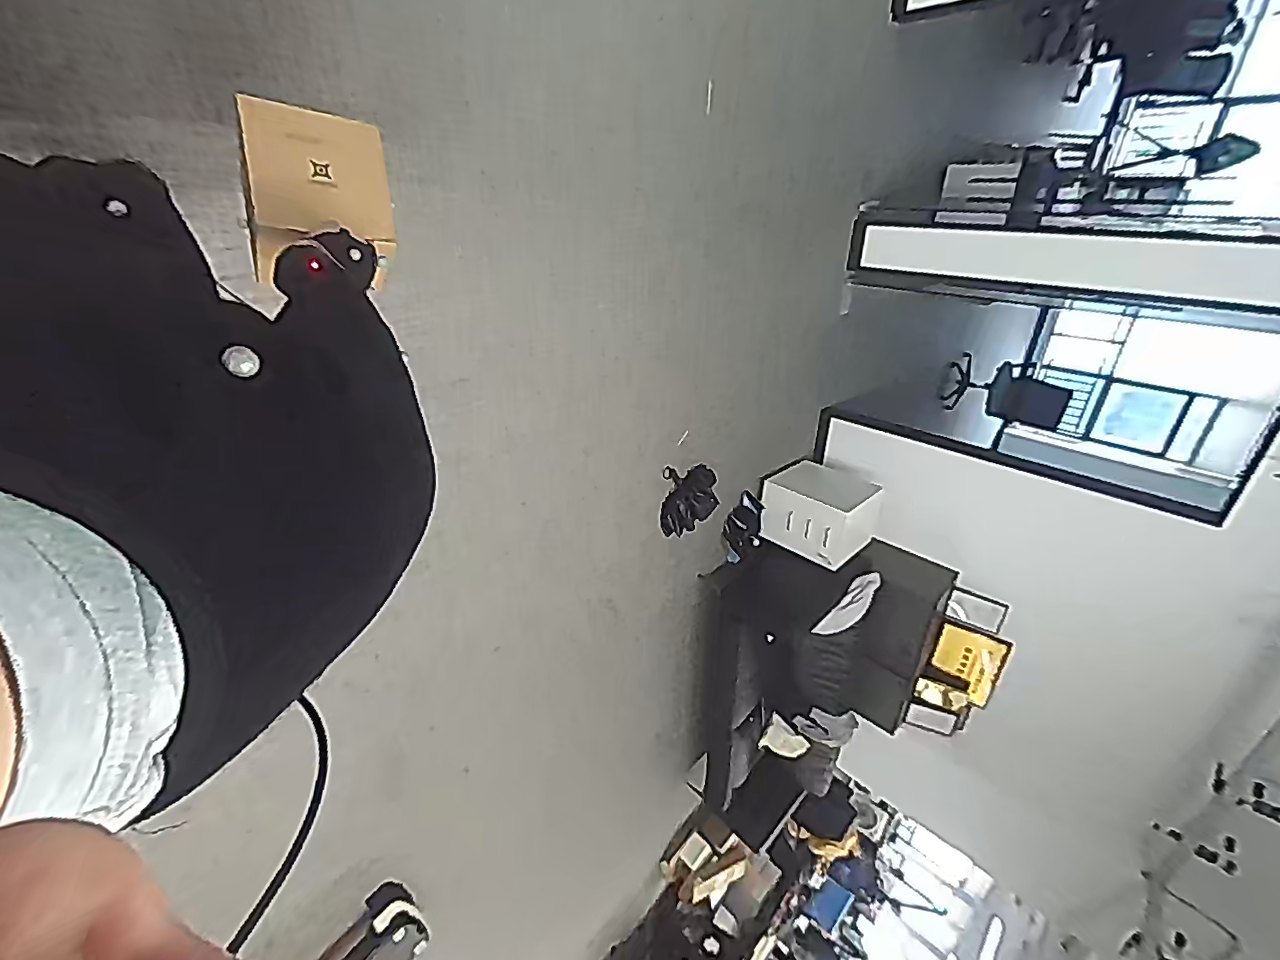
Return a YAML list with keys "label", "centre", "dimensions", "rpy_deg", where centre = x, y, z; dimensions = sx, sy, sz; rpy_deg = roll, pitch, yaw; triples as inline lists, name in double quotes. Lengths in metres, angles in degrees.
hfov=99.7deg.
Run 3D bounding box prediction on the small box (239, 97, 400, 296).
- label: "small box"
  centre: [-0.456, -0.382, 0.769]
  dimensions: [0.168, 0.176, 0.179]
  rpy_deg: [-9, 84, -37]
